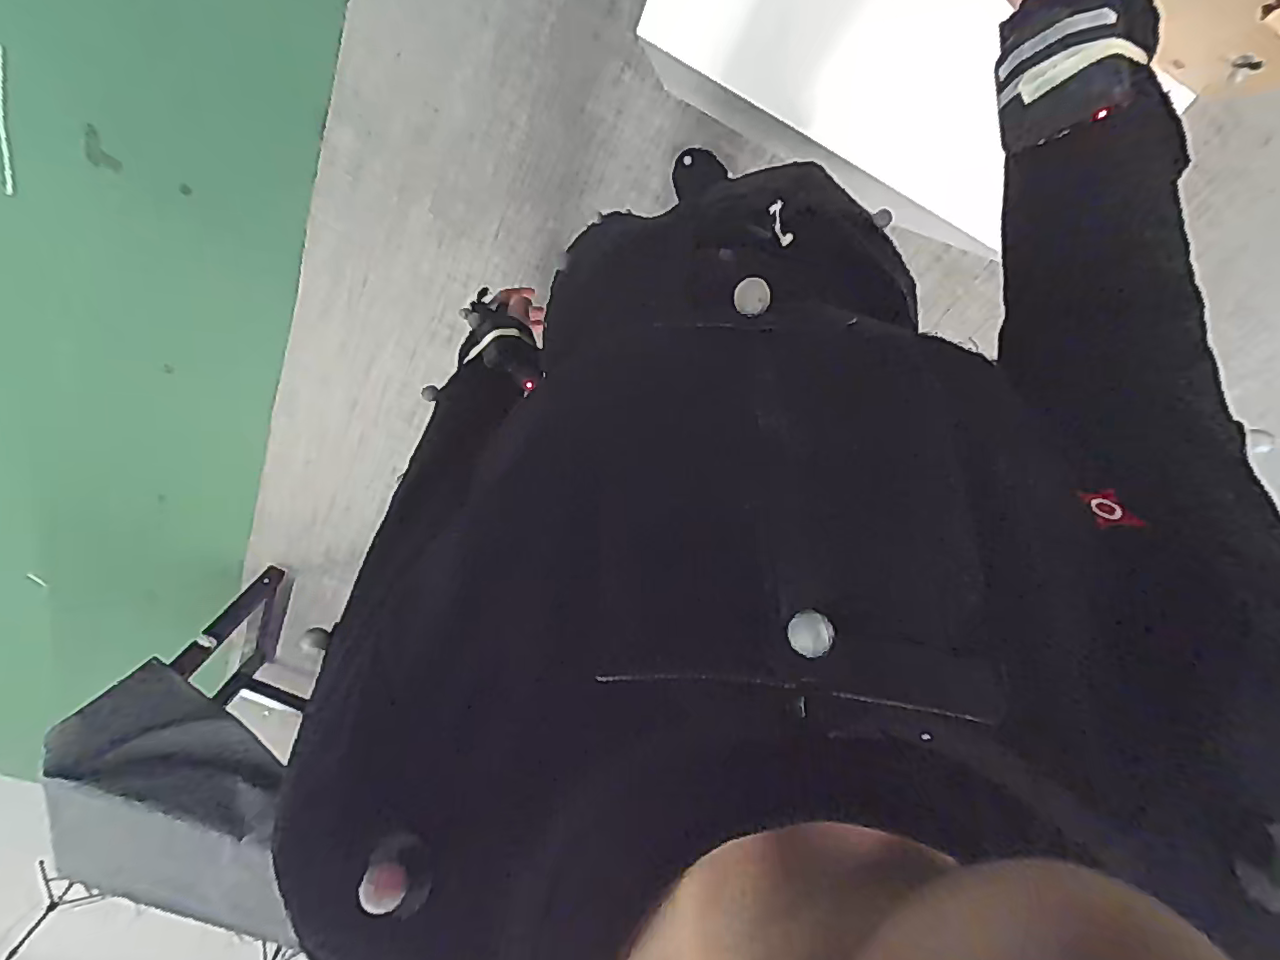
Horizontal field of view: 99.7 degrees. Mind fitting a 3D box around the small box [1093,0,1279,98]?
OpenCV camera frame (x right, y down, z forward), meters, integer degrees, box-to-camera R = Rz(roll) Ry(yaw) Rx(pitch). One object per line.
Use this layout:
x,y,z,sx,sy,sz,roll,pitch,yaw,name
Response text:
0.487,-0.410,0.390,0.168,0.176,0.179,24,120,-9,small box
